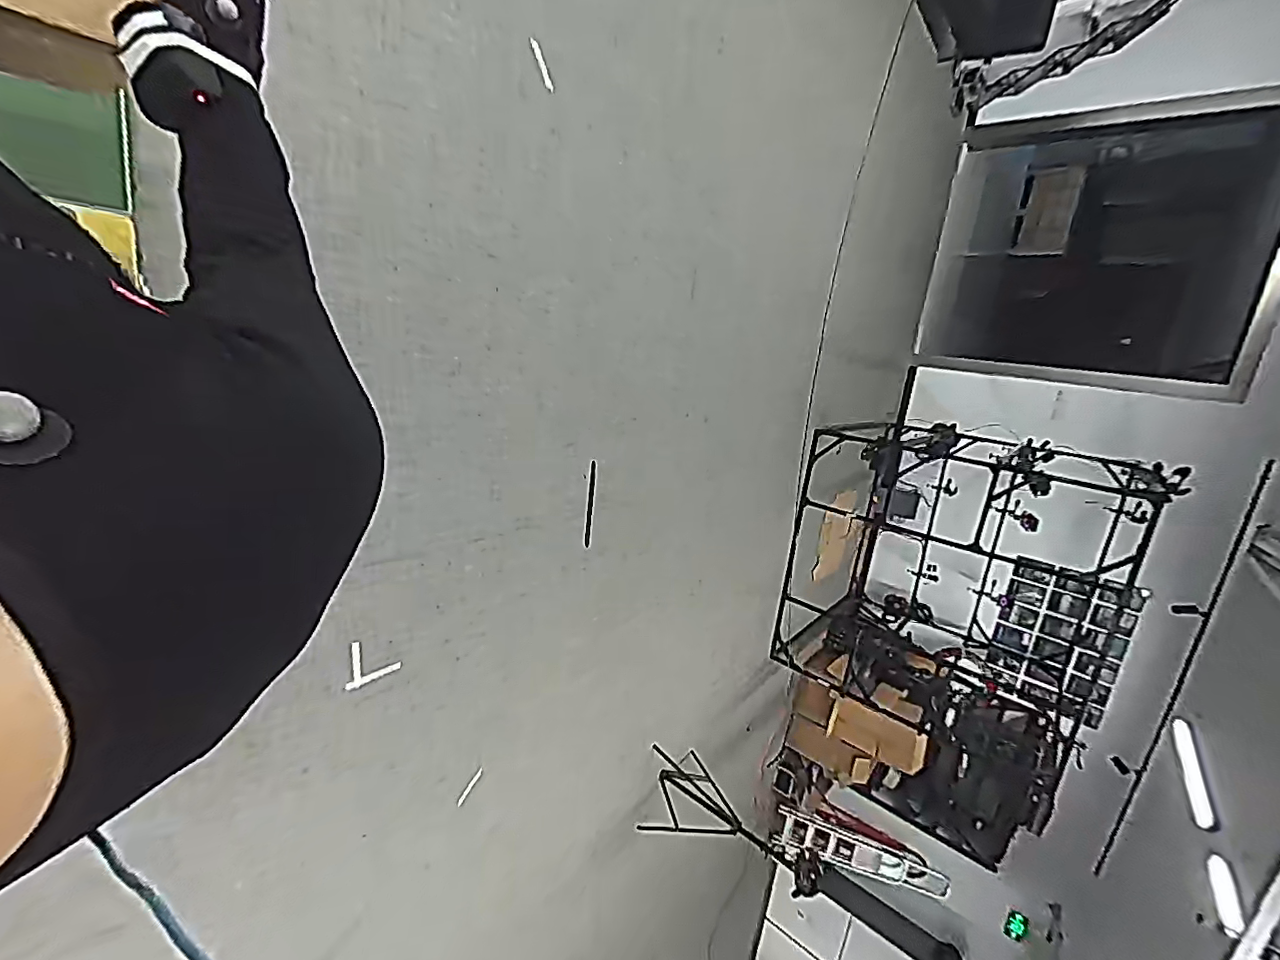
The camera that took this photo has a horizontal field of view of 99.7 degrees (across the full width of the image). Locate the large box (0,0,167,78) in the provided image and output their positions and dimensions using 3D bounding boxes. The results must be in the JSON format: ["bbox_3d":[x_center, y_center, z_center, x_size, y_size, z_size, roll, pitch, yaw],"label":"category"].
[{"bbox_3d":[-0.595,-0.506,0.317,0.408,0.320,0.320,-14,120,-50],"label":"large box"}]
